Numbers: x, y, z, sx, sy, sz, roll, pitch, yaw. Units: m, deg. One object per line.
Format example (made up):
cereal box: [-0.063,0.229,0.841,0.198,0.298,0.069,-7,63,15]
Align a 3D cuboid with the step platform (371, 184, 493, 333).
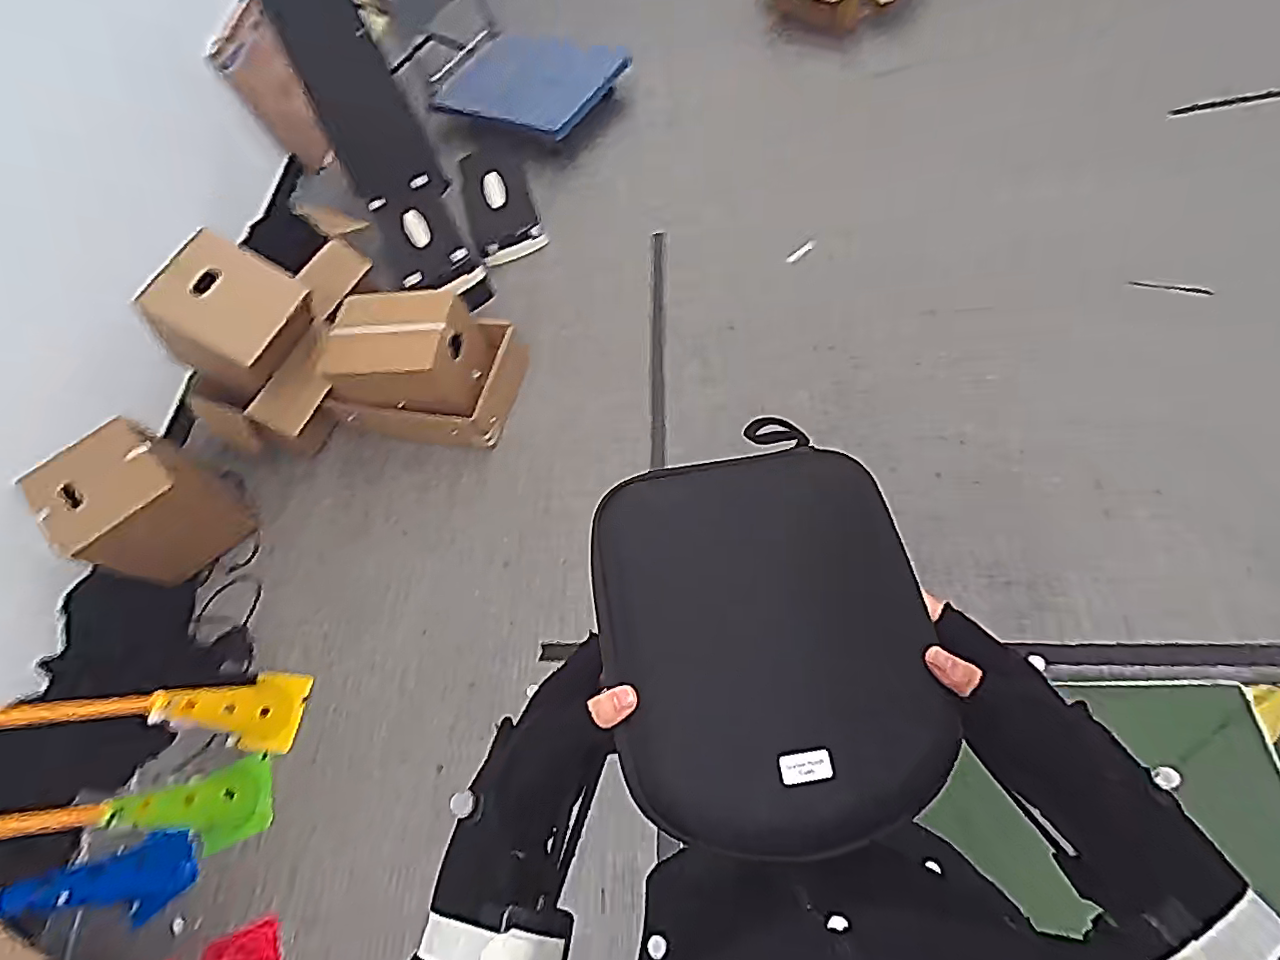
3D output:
step platform: [-0.861,-0.923,2.214,0.286,0.204,0.684,-31,63,-4]
